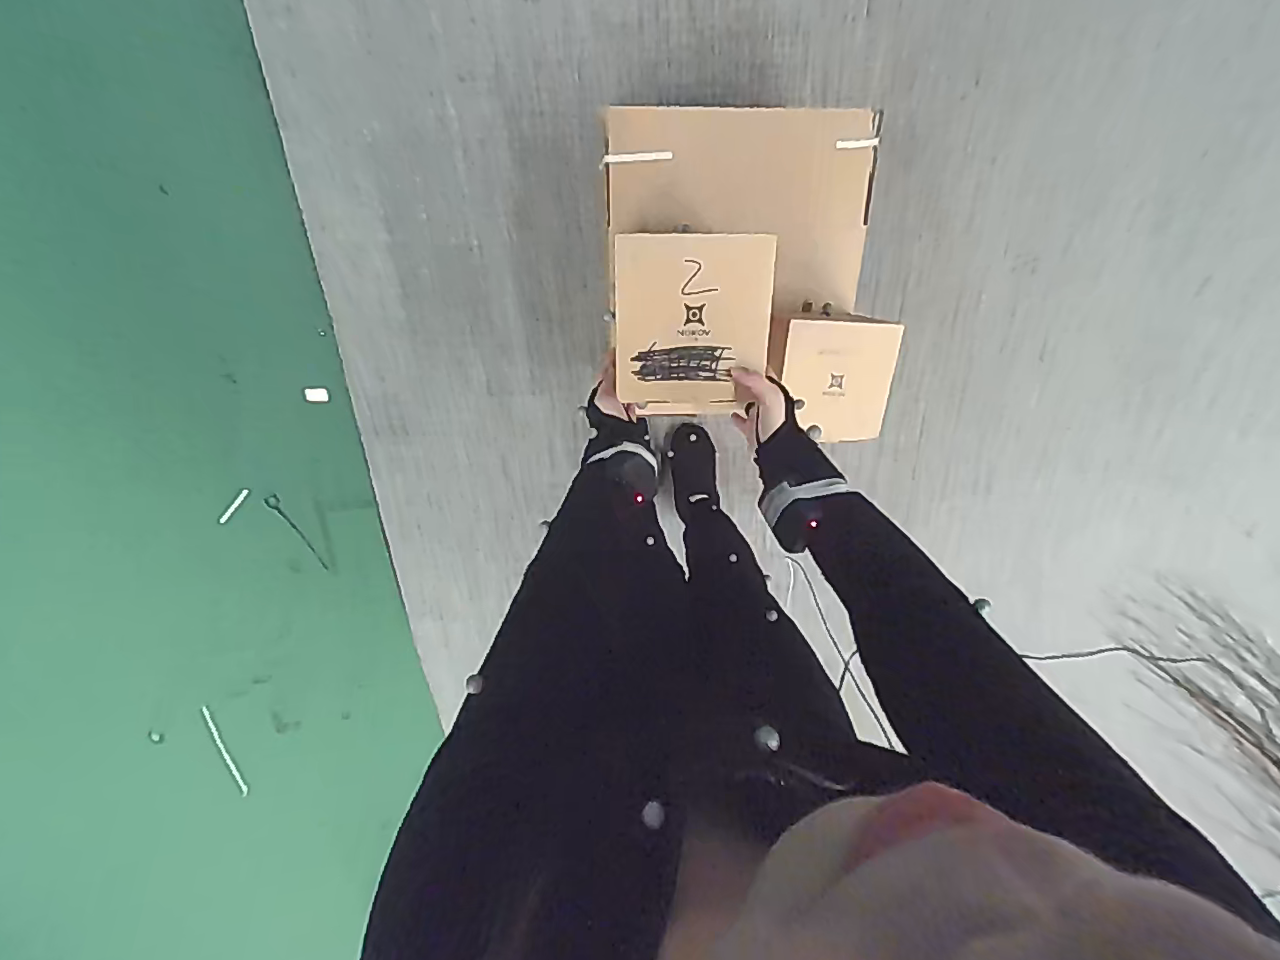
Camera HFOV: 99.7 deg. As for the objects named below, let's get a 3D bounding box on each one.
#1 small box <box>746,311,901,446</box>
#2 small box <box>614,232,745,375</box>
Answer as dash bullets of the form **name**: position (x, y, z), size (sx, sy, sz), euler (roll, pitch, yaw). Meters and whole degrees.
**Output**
- **small box**: position (0.271, -0.164, 0.845), size (0.168, 0.176, 0.179), euler (2, 111, -5)
- **small box**: position (0.047, -0.259, 0.796), size (0.168, 0.176, 0.179), euler (2, 111, -3)
